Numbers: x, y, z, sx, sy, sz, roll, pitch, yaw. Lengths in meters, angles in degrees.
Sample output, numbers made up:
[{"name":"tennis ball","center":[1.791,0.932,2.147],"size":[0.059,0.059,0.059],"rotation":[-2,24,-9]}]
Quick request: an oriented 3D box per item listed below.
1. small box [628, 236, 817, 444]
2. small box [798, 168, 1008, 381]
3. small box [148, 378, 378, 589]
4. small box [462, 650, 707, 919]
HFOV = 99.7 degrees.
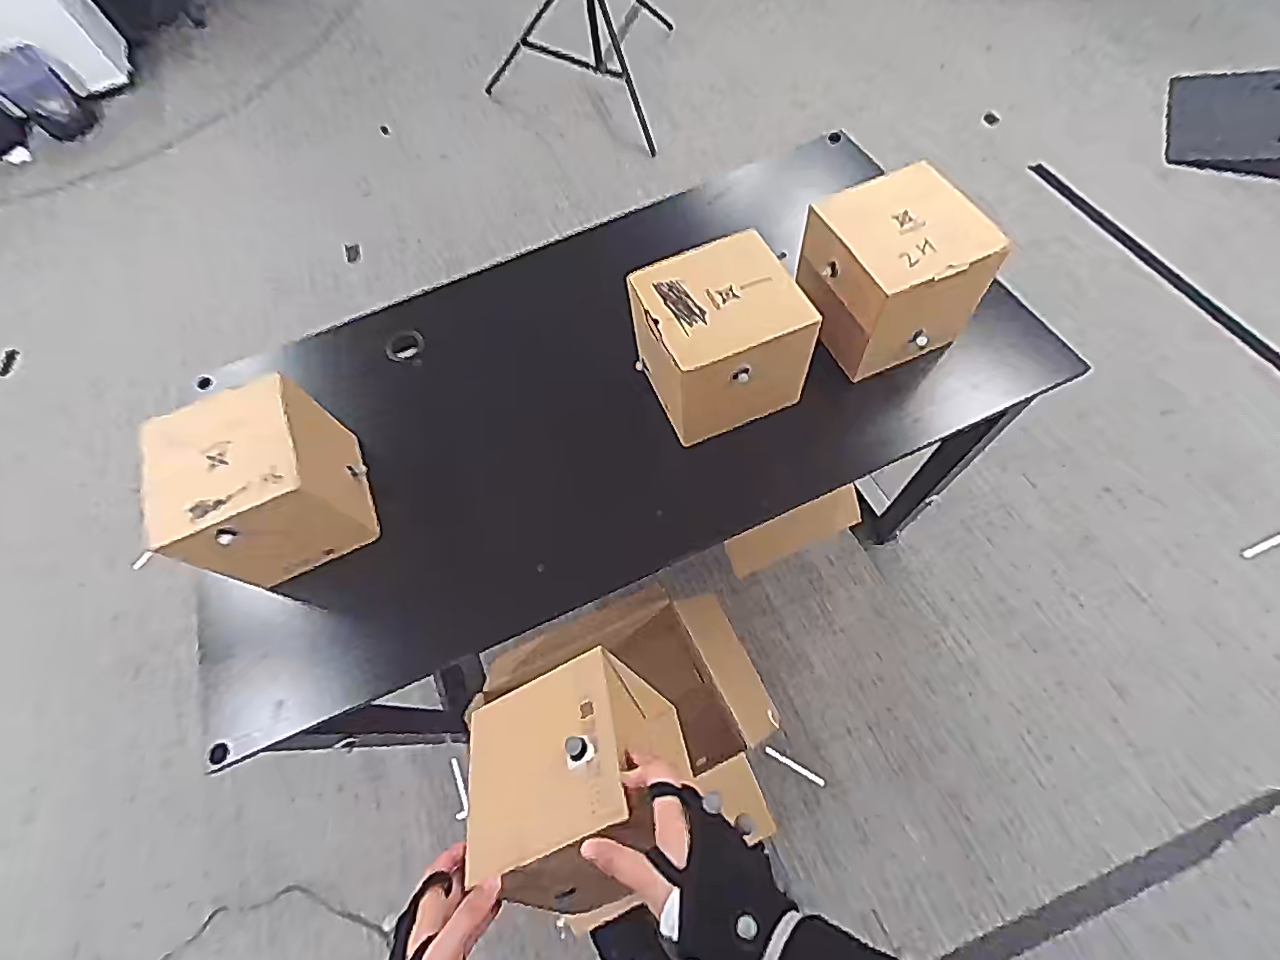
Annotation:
[{"name":"small box","center":[0.101,-0.172,0.704],"size":[0.179,0.176,0.168],"rotation":[-22,64,-5]},{"name":"small box","center":[0.327,-0.266,0.722],"size":[0.168,0.176,0.179],"rotation":[-23,64,-3]},{"name":"small box","center":[-0.460,0.011,0.677],"size":[0.168,0.176,0.179],"rotation":[-24,64,-6]},{"name":"small box","center":[-0.052,0.307,0.548],"size":[0.176,0.179,0.168],"rotation":[-30,38,8]}]
